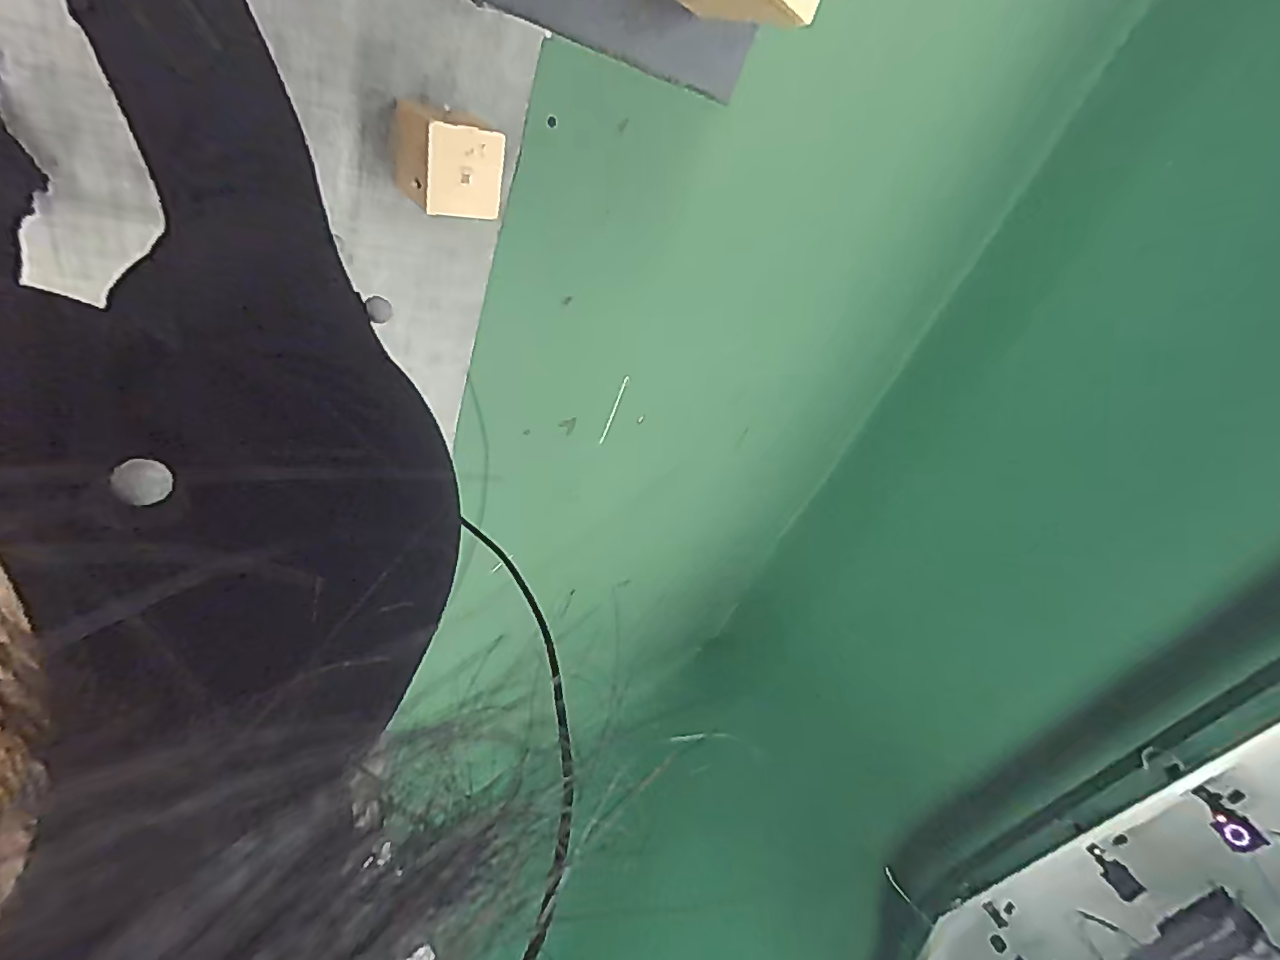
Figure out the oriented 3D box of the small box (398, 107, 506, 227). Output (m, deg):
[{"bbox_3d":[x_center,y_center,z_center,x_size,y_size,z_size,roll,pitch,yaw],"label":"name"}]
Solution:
[{"bbox_3d":[-0.414,-0.675,1.175,0.168,0.176,0.179,-16,139,-38],"label":"small box"}]
